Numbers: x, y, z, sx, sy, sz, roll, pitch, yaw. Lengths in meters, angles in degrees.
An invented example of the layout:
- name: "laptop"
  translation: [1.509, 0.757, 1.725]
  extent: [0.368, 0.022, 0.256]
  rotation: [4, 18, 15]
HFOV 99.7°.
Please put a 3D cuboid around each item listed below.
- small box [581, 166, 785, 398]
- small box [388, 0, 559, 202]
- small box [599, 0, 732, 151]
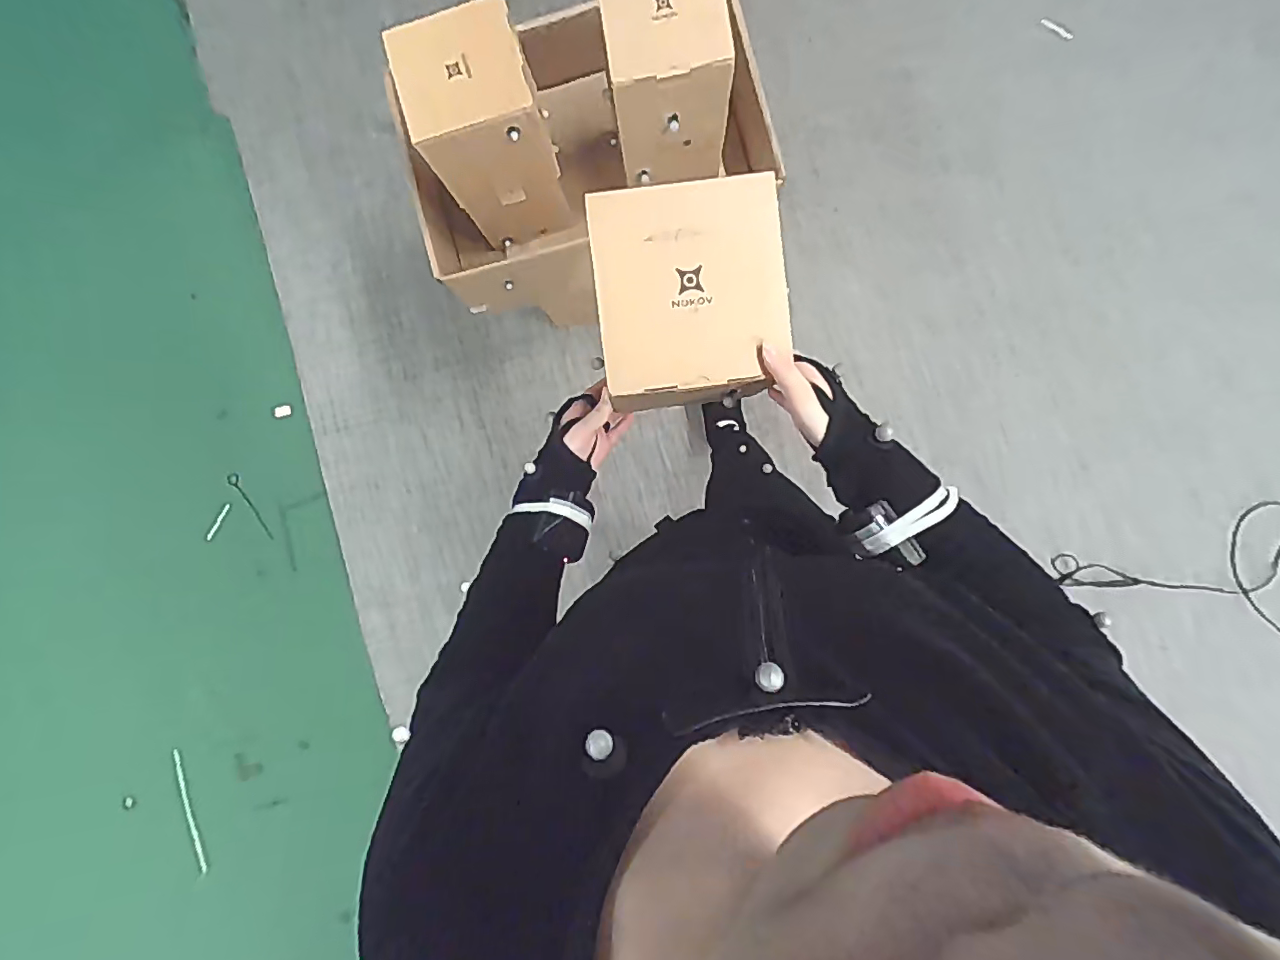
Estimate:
- name: "small box"
  translation: [0.039, -0.179, 0.546]
  extent: [0.168, 0.176, 0.179]
  rotation: [-6, 93, 0]
- name: "small box"
  translation: [-0.238, -0.553, 0.812]
  extent: [0.179, 0.176, 0.168]
  rotation: [-16, 88, 3]
- name: "small box"
  translation: [0.038, -0.614, 0.789]
  extent: [0.168, 0.176, 0.179]
  rotation: [-8, 89, 4]
